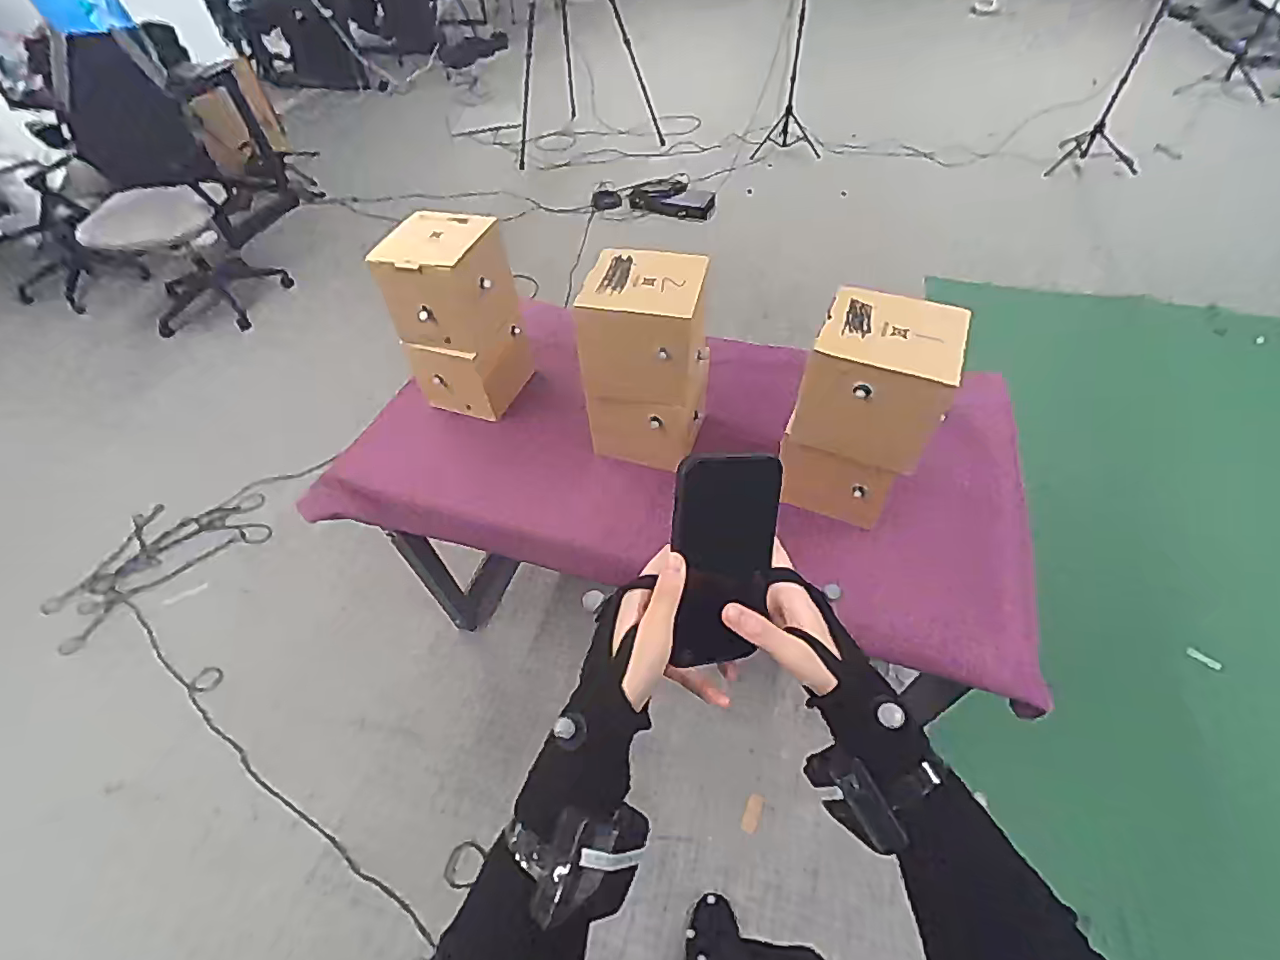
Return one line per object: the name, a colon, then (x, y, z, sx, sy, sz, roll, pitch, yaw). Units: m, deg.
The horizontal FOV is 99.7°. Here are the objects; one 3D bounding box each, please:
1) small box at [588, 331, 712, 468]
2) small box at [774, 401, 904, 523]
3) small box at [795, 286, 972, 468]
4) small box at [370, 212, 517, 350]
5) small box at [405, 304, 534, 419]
small box: (0.024, -0.144, 0.993, 0.179, 0.176, 0.168, 14, 53, 15)
small box: (0.338, -0.052, 0.899, 0.179, 0.176, 0.168, 19, 54, 19)
small box: (0.332, -0.142, 0.761, 0.179, 0.176, 0.168, 19, 54, 18)
small box: (-0.341, -0.360, 0.984, 0.168, 0.176, 0.179, 11, 53, 12)
small box: (-0.335, -0.250, 1.106, 0.168, 0.176, 0.179, 15, 53, 15)
